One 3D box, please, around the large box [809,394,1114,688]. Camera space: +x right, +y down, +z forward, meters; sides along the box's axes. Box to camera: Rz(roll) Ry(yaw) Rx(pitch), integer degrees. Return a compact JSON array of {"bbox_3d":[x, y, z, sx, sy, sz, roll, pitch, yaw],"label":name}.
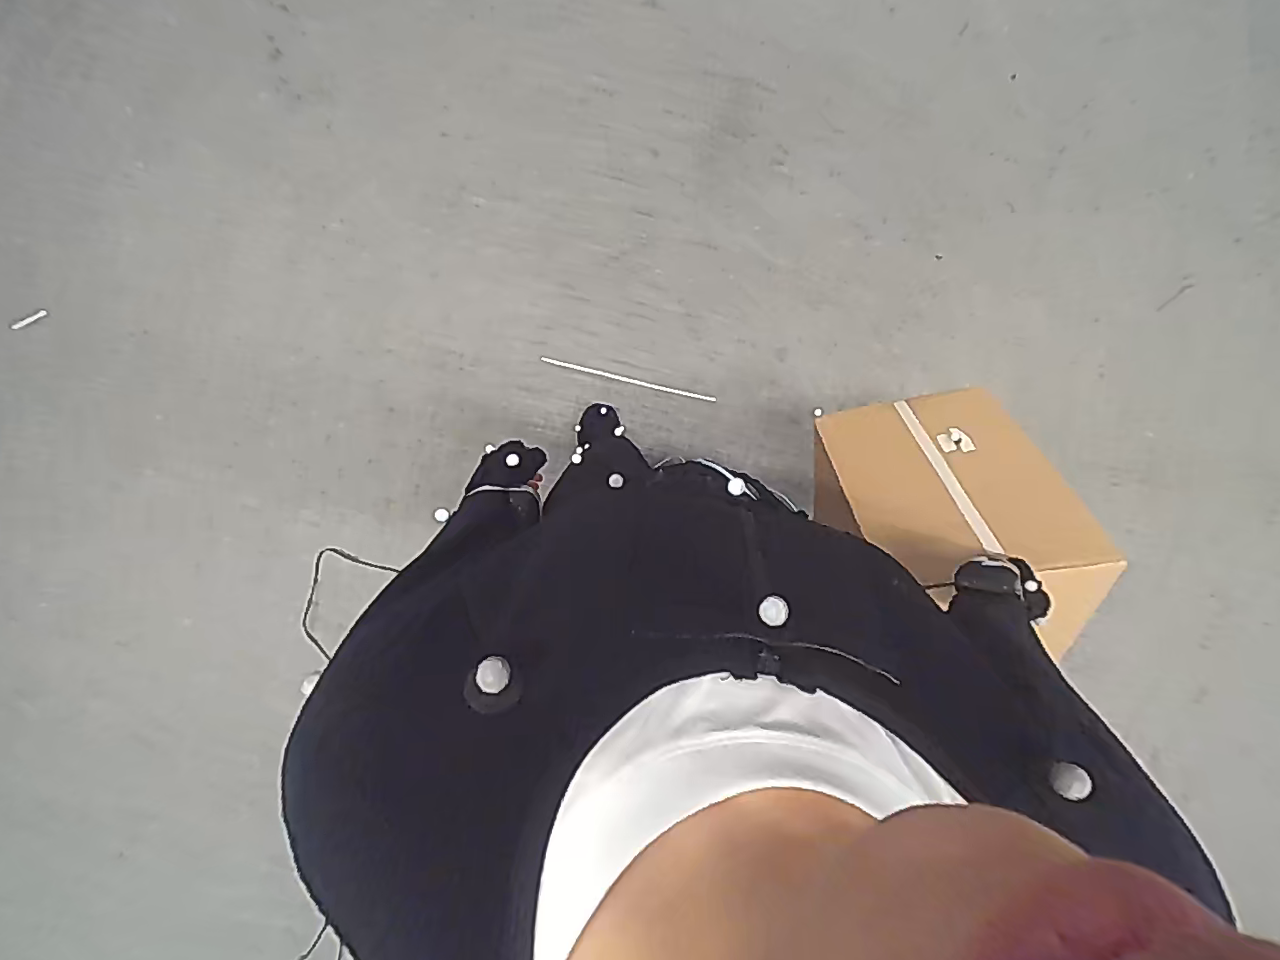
[{"bbox_3d":[0.519,0.104,0.987,0.320,0.408,0.320,-10,132,6],"label":"large box"}]
